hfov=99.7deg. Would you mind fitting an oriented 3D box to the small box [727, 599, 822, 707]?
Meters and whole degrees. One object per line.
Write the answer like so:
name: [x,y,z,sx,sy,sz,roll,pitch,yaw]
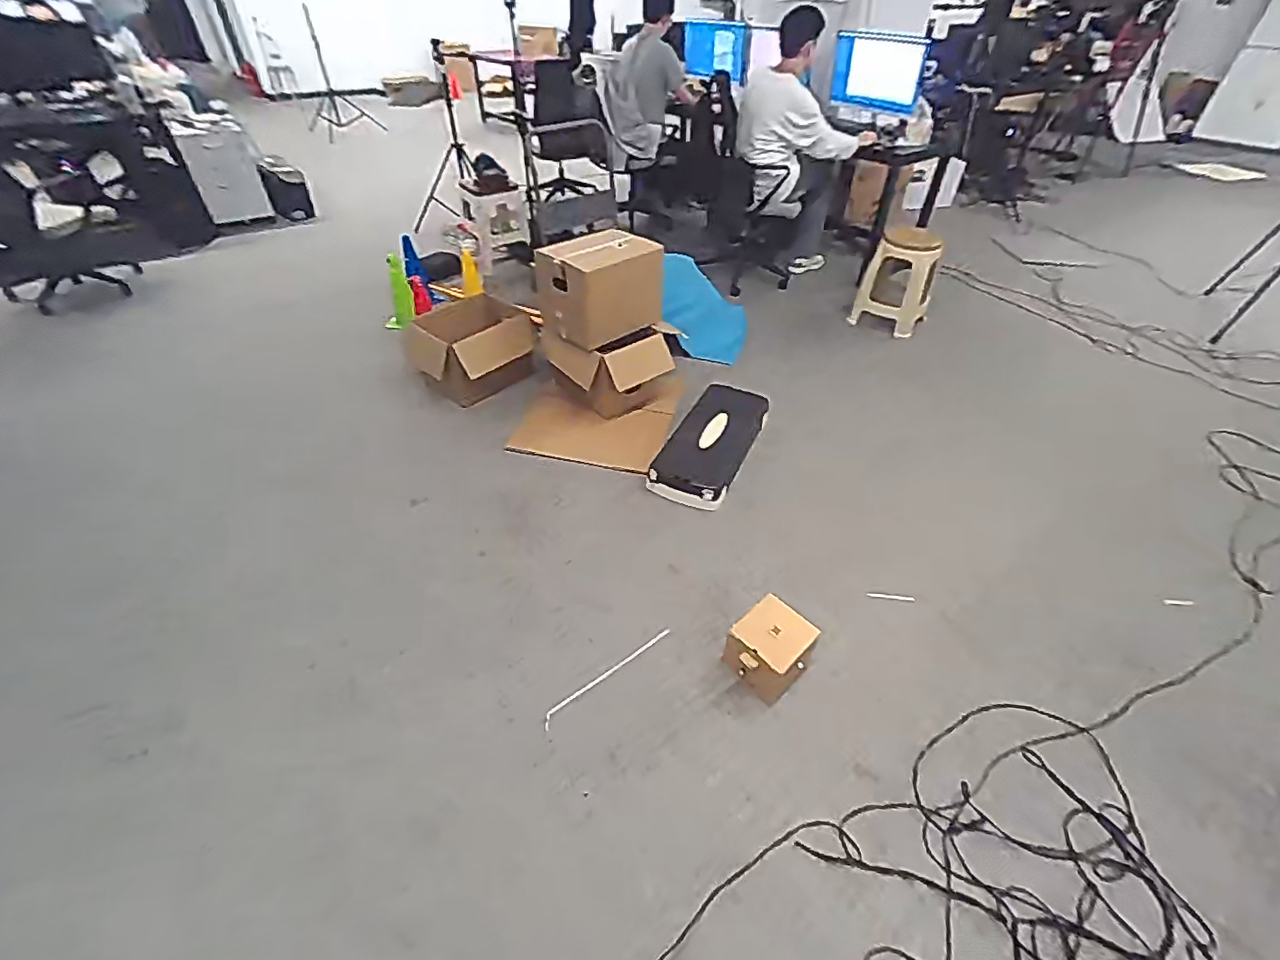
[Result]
small box: [0.346,0.456,1.427,0.179,0.176,0.168,-32,52,-30]
